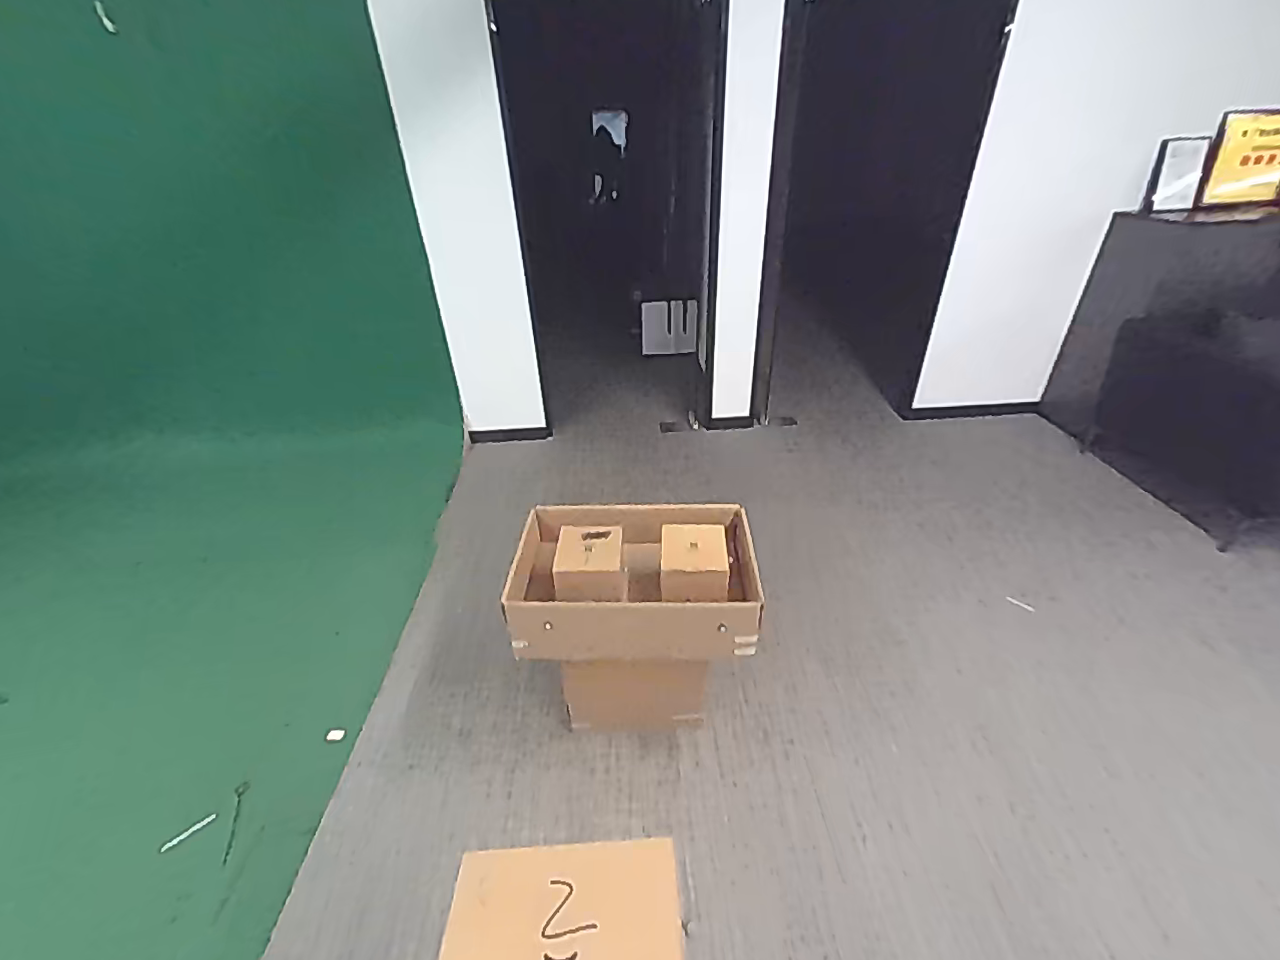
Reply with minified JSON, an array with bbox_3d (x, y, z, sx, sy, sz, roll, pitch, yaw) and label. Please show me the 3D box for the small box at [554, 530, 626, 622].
[{"bbox_3d":[-0.124,0.248,1.416,0.168,0.176,0.179,-1,34,2],"label":"small box"}]
